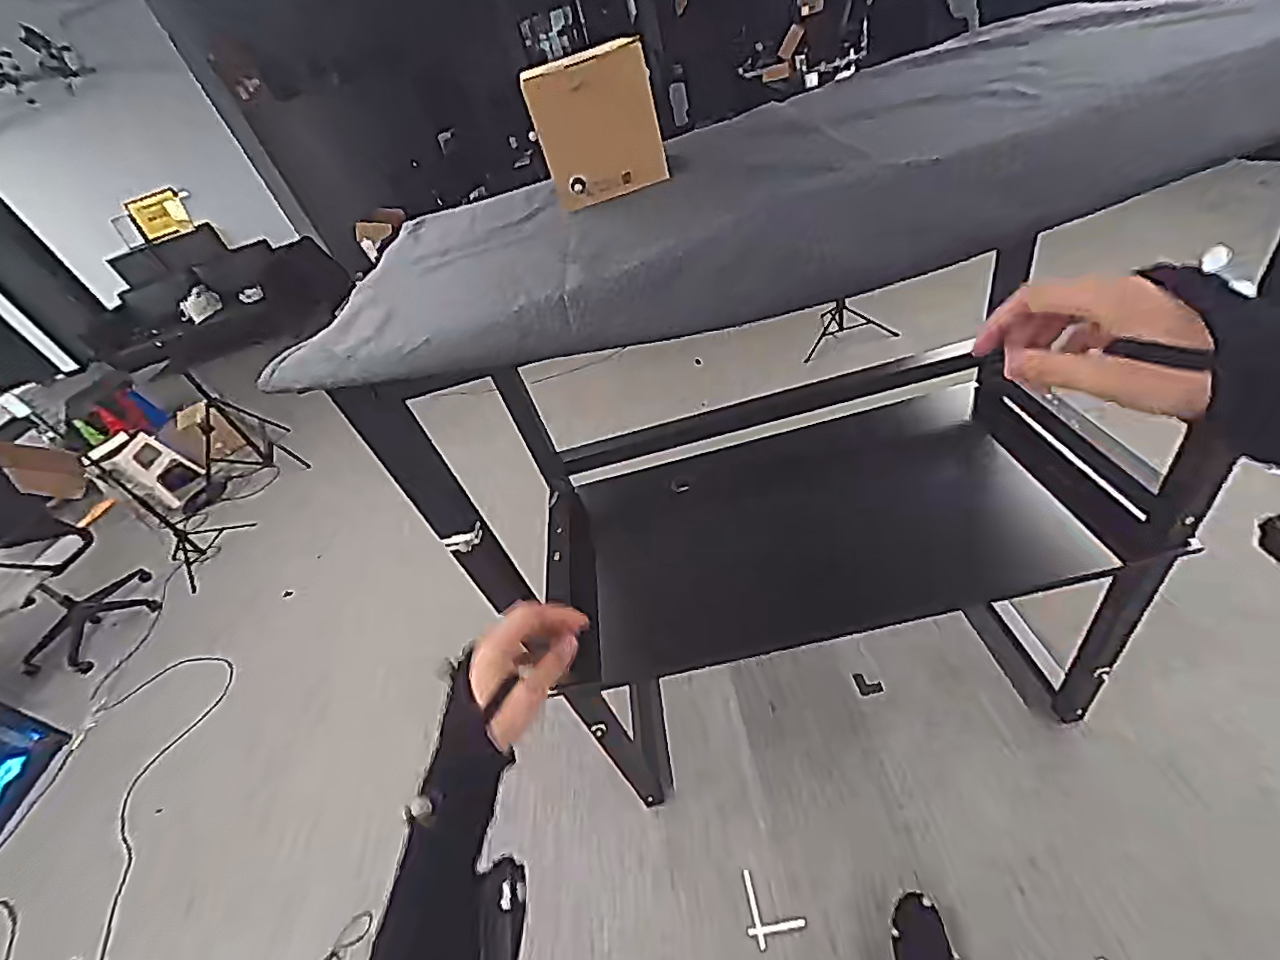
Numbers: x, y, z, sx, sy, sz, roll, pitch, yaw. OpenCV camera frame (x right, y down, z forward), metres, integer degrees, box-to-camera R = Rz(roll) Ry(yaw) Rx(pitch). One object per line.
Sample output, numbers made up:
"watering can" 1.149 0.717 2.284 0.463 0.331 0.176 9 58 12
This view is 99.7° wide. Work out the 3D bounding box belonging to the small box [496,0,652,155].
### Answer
"small box" -0.089 -0.582 0.761 0.168 0.176 0.179 -17 41 2
